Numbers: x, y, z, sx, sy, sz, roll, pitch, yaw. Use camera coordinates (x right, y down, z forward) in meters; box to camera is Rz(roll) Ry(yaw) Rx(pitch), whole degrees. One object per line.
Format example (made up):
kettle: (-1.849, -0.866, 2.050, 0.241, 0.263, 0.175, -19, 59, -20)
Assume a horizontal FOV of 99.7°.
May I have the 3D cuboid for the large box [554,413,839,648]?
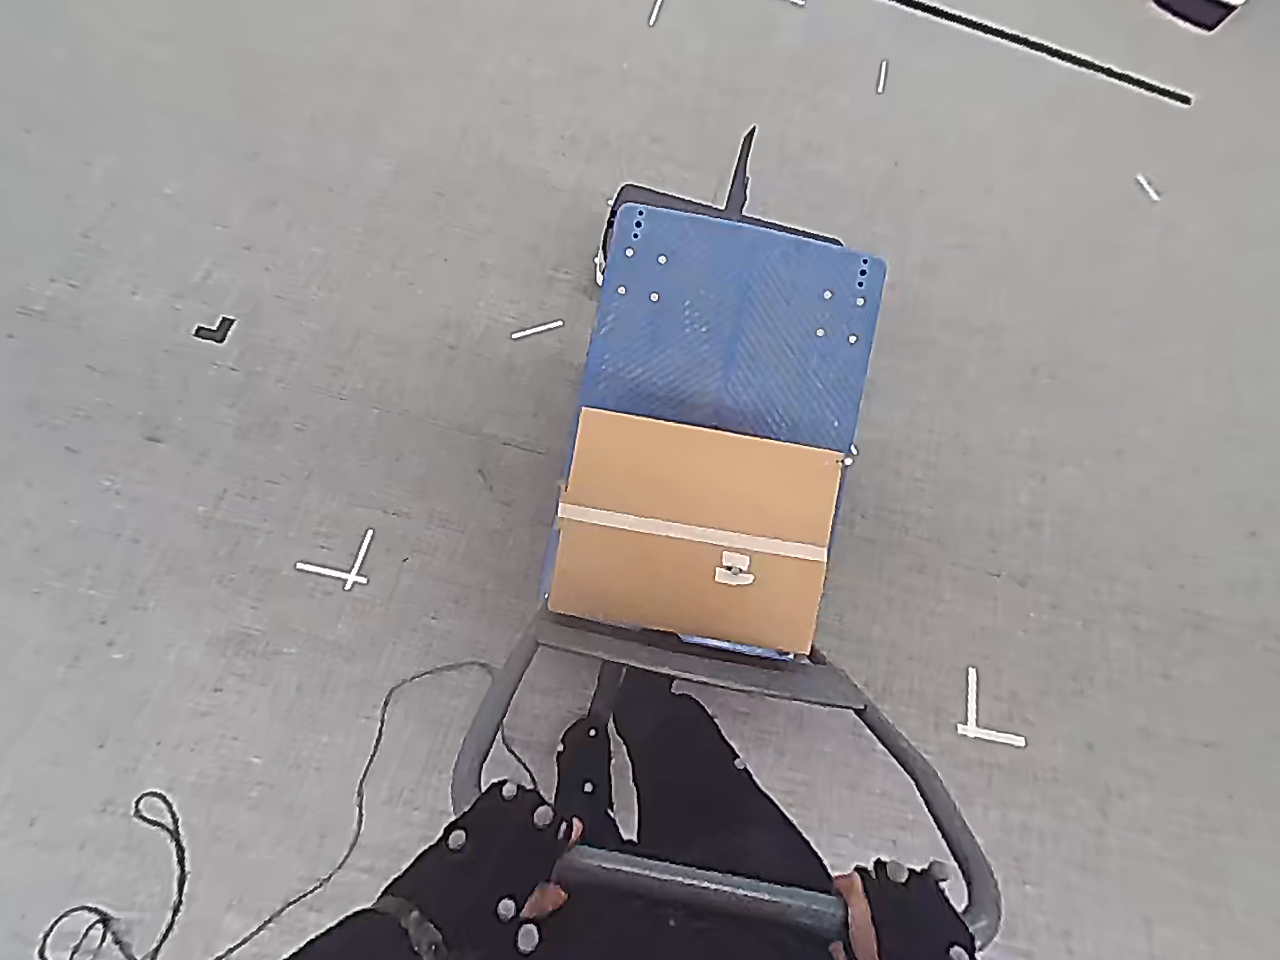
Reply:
large box: (0.081, 0.077, 0.968, 0.408, 0.320, 0.320, 10, 91, -2)
